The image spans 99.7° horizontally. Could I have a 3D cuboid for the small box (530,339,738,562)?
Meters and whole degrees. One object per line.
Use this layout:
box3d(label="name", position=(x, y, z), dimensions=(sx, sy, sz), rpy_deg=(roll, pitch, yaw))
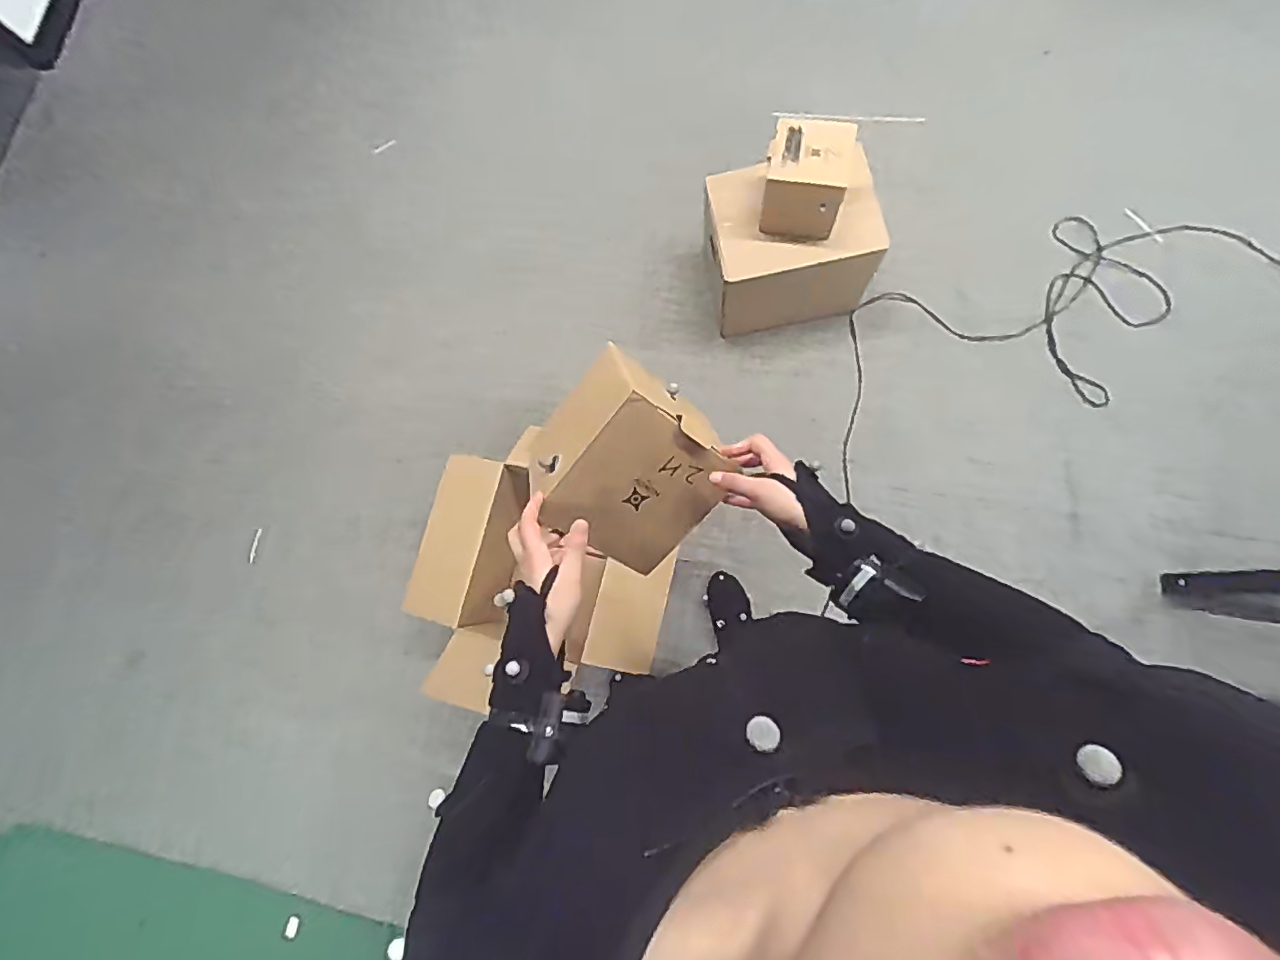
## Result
box3d(label="small box", position=(-0.017, -0.040, 0.658), dimensions=(0.168, 0.176, 0.179), rpy_deg=(32, 108, -27))
